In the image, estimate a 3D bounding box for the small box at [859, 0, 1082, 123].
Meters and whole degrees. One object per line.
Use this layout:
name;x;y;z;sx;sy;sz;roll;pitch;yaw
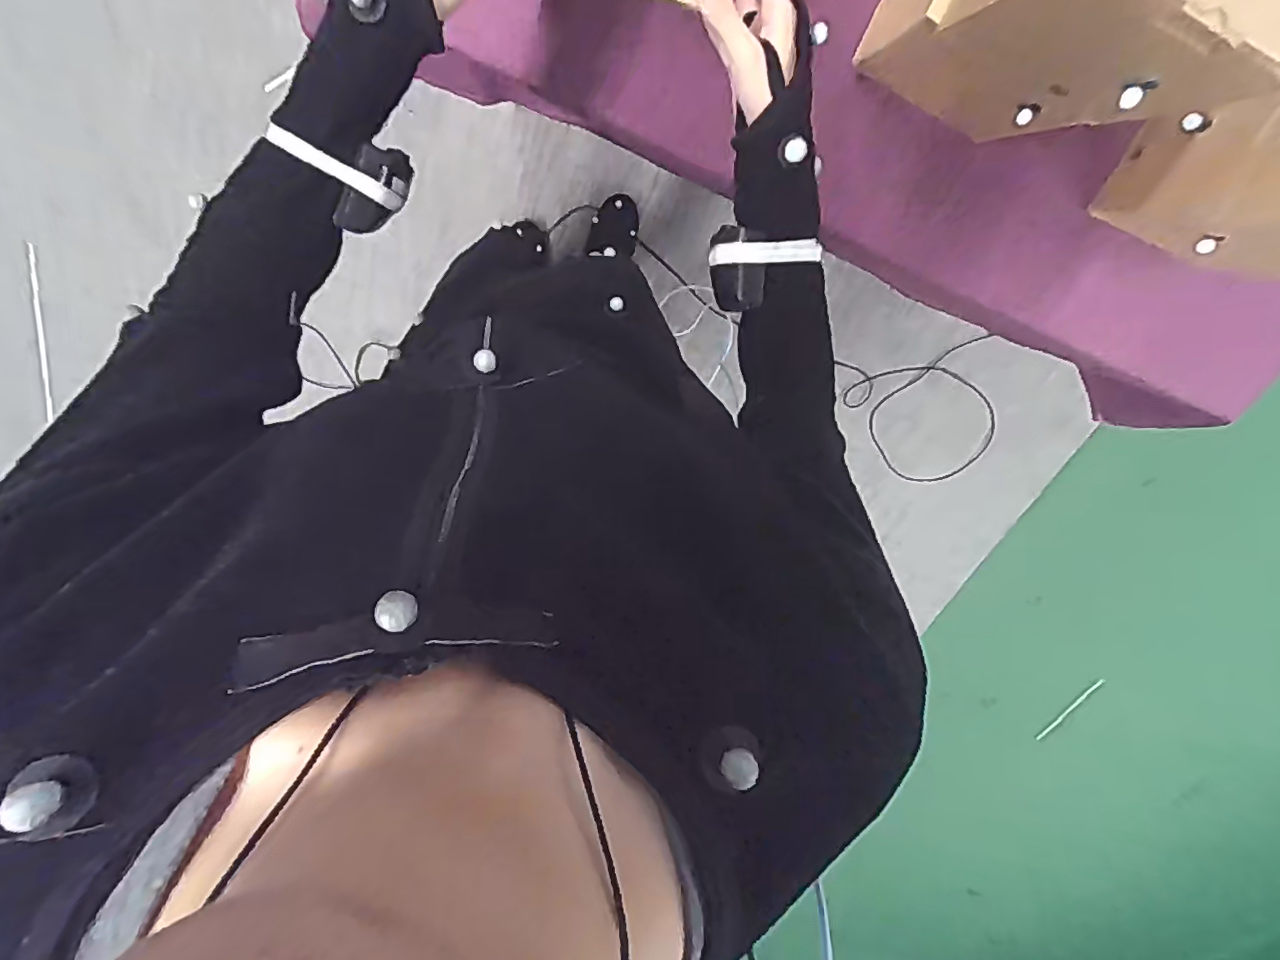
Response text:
small box;0.329;-0.441;0.471;0.179;0.176;0.168;20;115;-14

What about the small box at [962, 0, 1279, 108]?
small box;0.339;-0.363;0.330;0.168;0.176;0.179;19;115;-12

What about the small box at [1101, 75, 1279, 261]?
small box;0.629;-0.324;0.534;0.179;0.176;0.168;18;116;-9
